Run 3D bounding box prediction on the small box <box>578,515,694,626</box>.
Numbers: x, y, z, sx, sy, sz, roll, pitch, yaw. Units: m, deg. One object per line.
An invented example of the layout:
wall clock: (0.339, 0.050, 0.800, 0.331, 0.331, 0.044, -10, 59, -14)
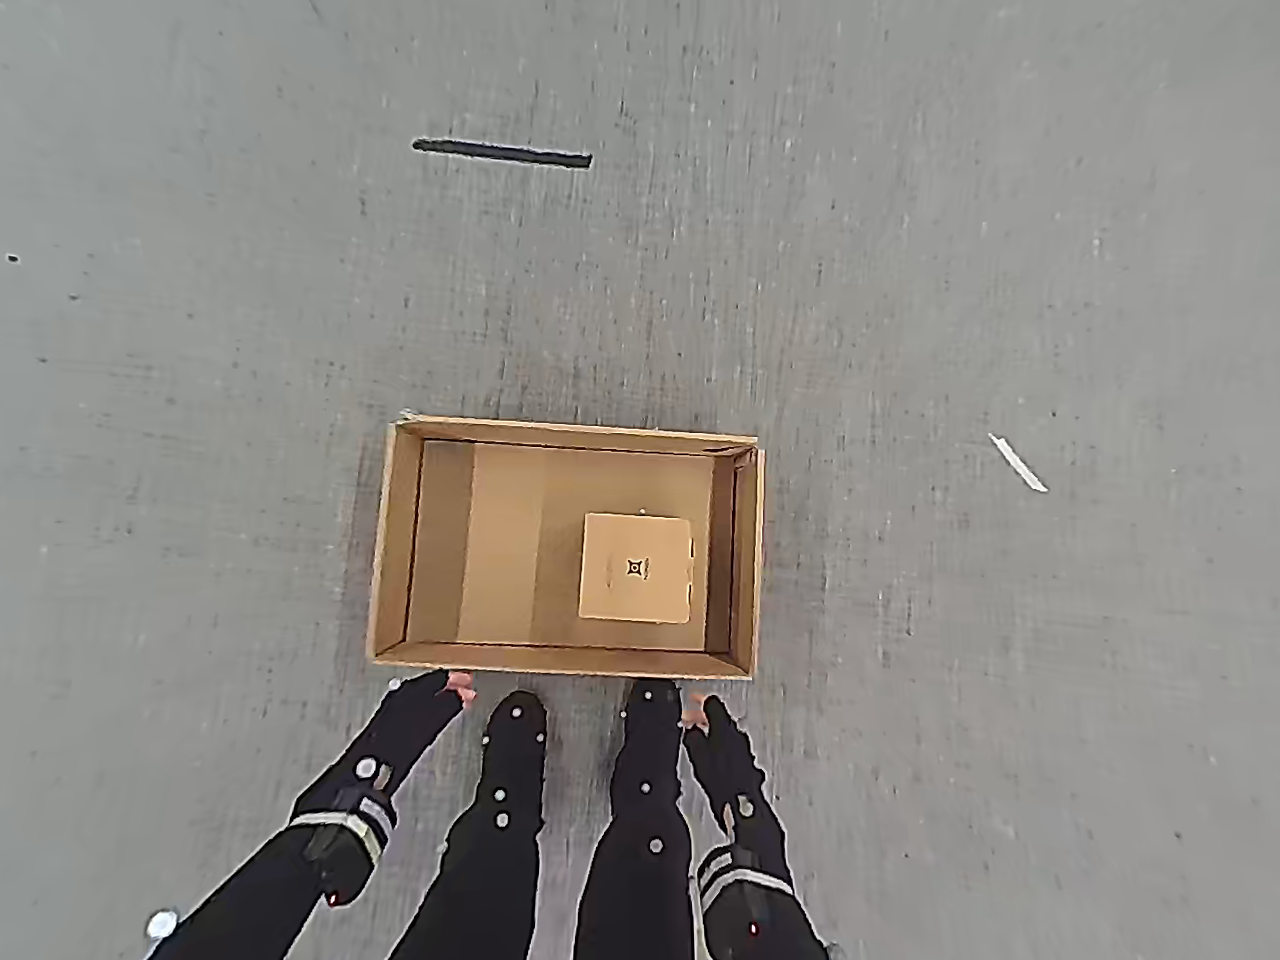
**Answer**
small box: (-0.009, 0.151, 0.926, 0.179, 0.176, 0.168, 3, 82, -2)
